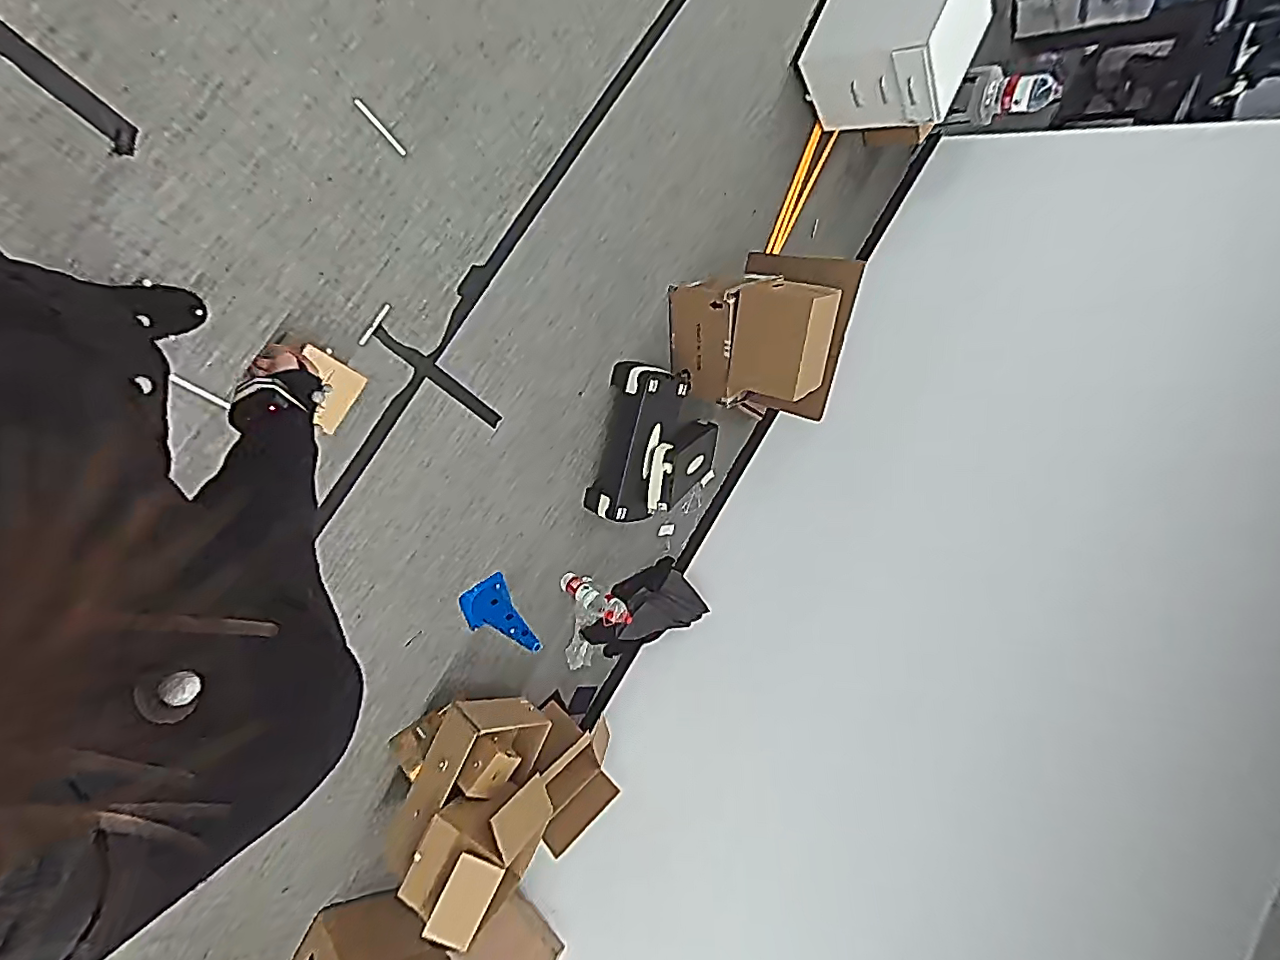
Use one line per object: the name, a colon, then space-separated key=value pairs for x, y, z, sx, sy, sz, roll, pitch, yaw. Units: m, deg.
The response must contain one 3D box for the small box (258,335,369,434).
small box: x=-0.850 y=-0.250 z=1.399 sx=0.179 sy=0.176 sz=0.168 roll=-60 pitch=141 yaw=-6
